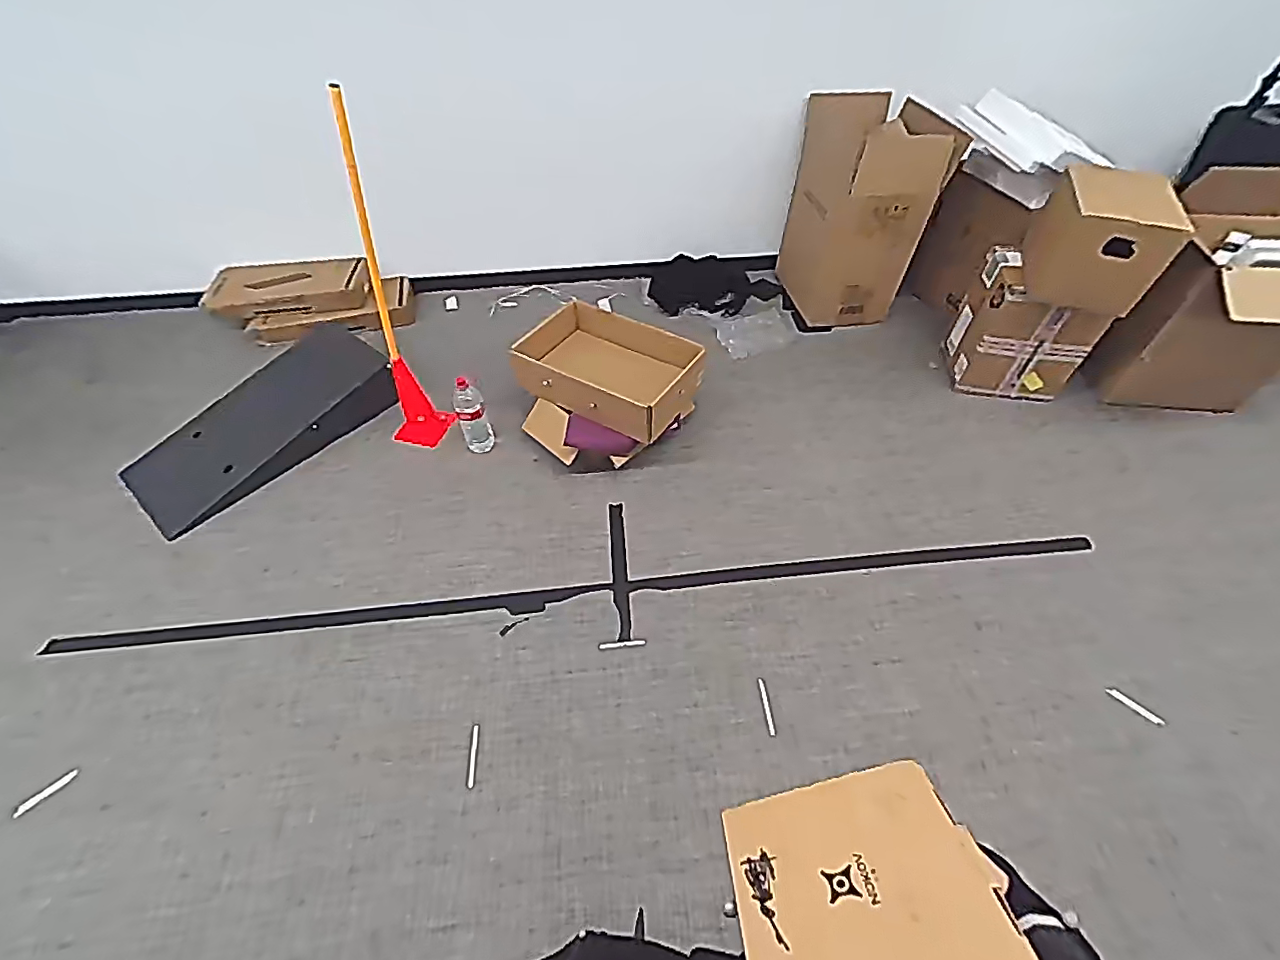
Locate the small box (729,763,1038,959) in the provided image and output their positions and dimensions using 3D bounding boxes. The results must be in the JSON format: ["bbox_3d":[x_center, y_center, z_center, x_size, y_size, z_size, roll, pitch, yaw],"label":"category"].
[{"bbox_3d":[0.185,0.368,0.425,0.179,0.176,0.168,-18,17,6],"label":"small box"}]
